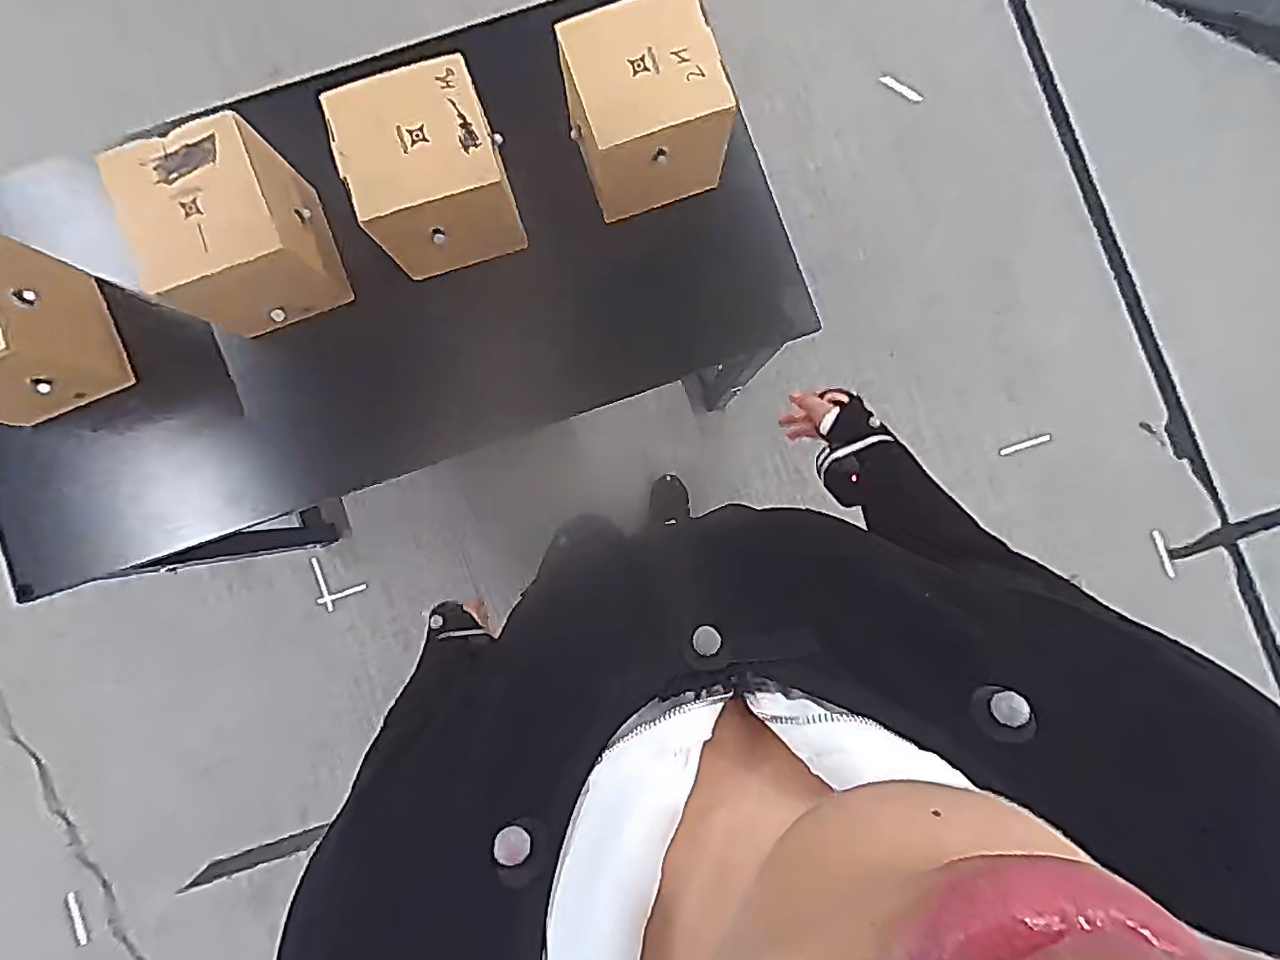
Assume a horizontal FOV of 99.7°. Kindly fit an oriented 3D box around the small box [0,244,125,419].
[{"bbox_3d":[-0.821,-0.187,0.683,0.168,0.176,0.179,-23,88,-3],"label":"small box"}]

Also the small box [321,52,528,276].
[{"bbox_3d":[-0.265,-0.392,0.704,0.179,0.176,0.168,-18,88,-1],"label":"small box"}]

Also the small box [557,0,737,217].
[{"bbox_3d":[0.008,-0.480,0.711,0.179,0.176,0.168,-19,88,-1],"label":"small box"}]

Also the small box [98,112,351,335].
[{"bbox_3d":[-0.513,-0.313,0.694,0.168,0.176,0.179,-21,89,-2],"label":"small box"}]
